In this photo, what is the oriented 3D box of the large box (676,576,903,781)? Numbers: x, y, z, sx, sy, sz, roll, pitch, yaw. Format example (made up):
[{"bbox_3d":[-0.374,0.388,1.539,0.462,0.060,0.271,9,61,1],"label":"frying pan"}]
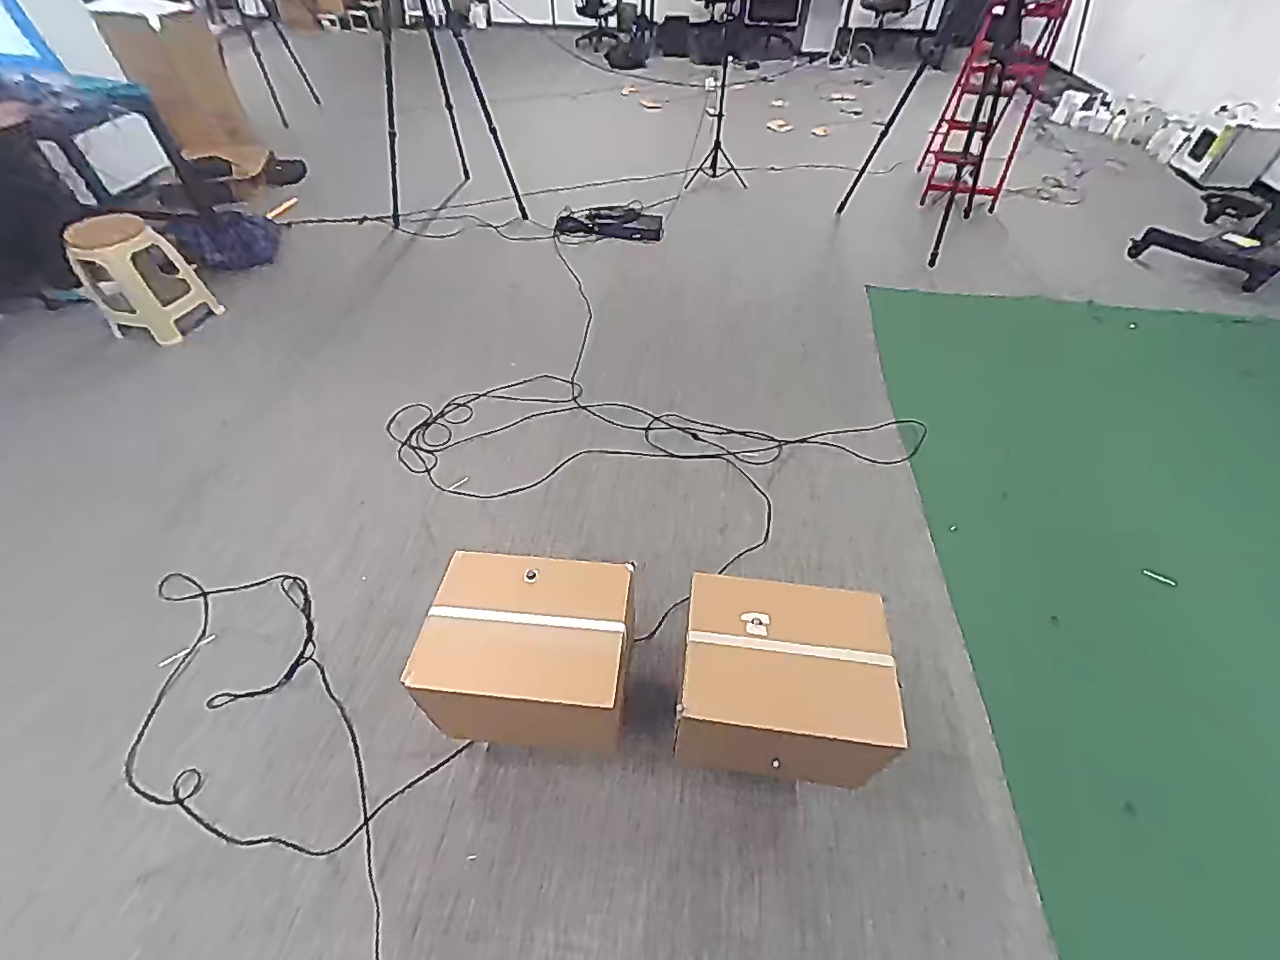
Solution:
[{"bbox_3d":[0.299,0.441,1.196,0.408,0.320,0.320,6,48,6],"label":"large box"}]
